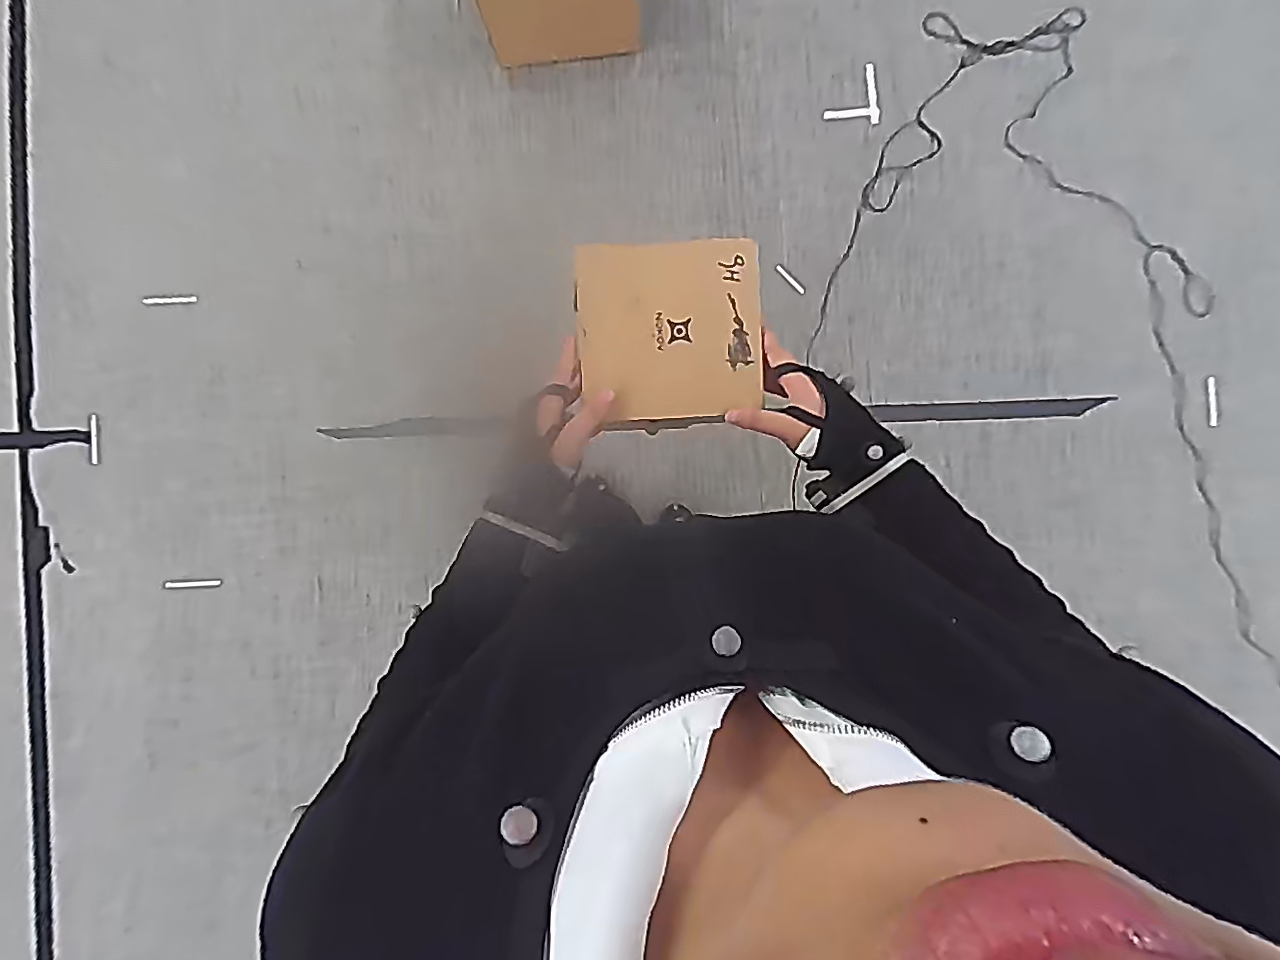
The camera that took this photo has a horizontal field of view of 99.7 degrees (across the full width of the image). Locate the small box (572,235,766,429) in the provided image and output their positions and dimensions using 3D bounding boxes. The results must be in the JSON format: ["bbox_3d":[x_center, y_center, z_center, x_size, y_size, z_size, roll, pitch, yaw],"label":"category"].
[{"bbox_3d":[0.025,-0.143,0.577,0.179,0.176,0.168,-3,93,-3],"label":"small box"}]
